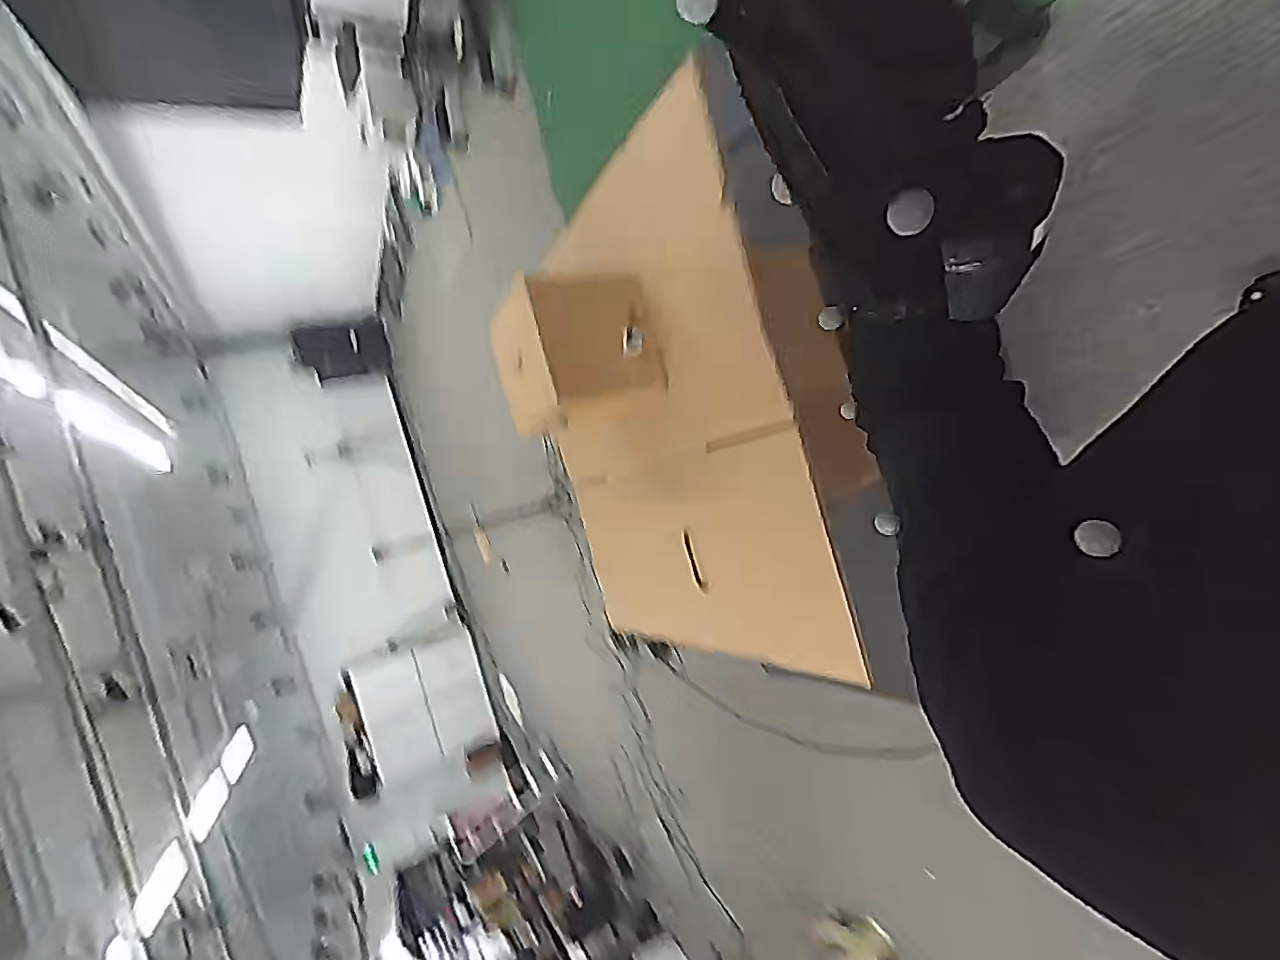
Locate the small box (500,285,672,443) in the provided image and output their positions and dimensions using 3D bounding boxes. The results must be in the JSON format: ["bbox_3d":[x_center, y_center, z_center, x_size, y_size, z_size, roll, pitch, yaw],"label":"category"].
[{"bbox_3d":[-0.080,-0.163,0.775,0.179,0.176,0.168,-22,84,59],"label":"small box"}]
